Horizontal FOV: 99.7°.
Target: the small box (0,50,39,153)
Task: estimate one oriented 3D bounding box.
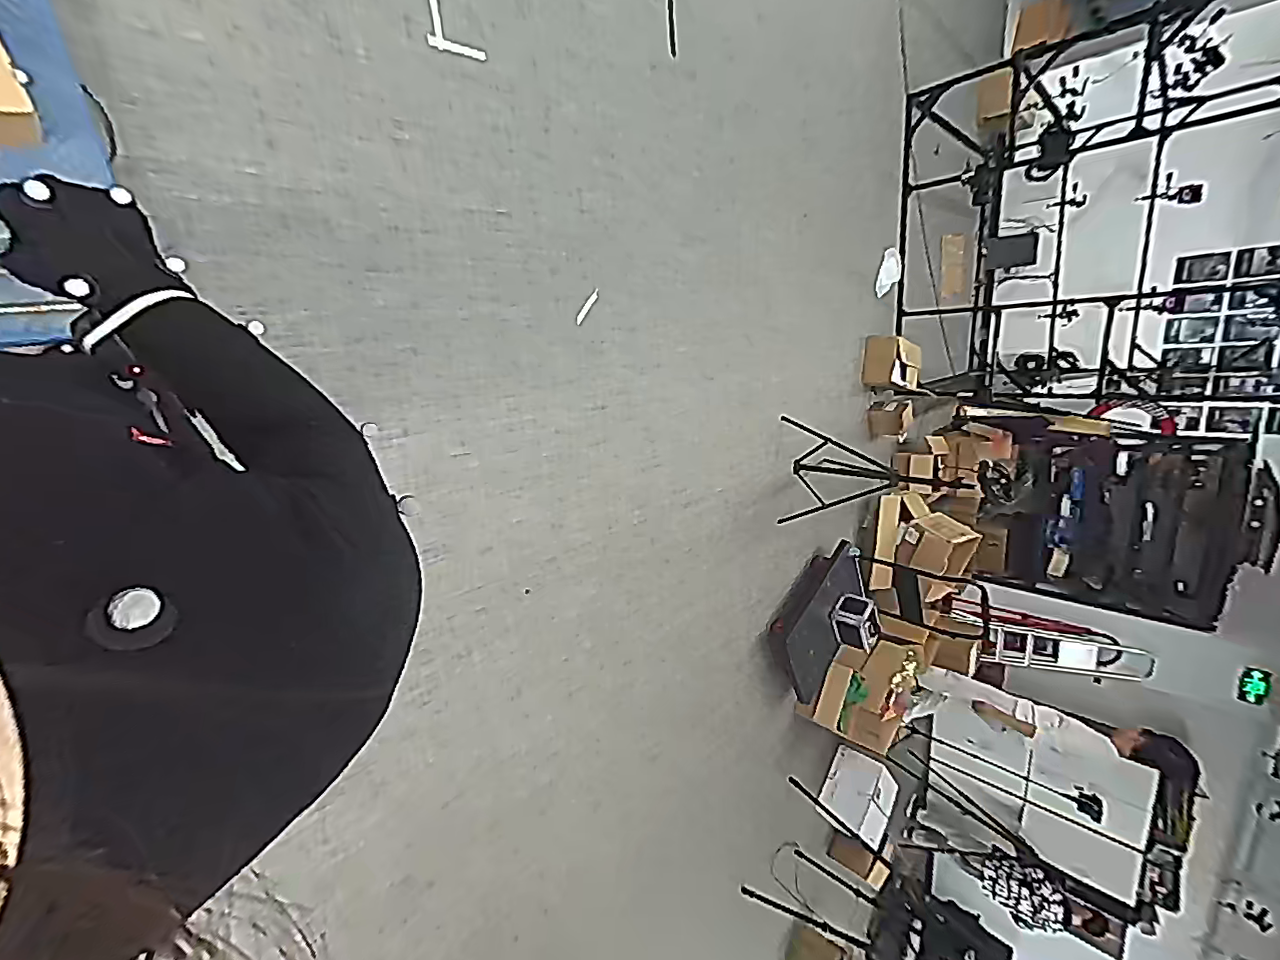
[{"bbox_3d":[-0.976,-0.555,0.729,0.179,0.176,0.168,-31,118,-39],"label":"small box"}]
